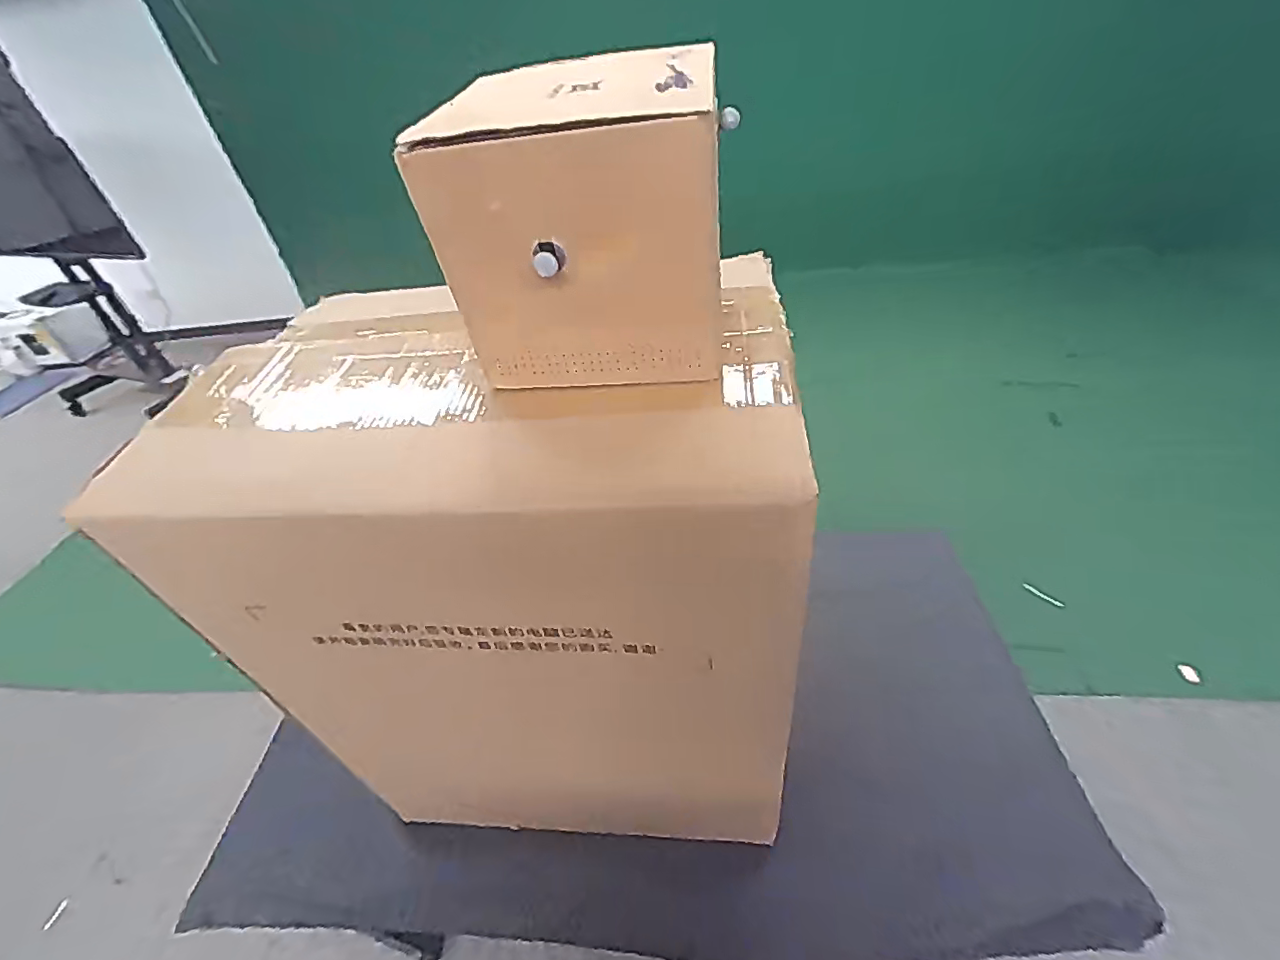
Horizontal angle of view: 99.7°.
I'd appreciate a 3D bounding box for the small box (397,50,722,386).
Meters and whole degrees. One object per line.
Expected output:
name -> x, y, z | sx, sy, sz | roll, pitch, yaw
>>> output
small box -> -0.032, -0.182, 0.396 | 0.179, 0.176, 0.168 | -1, 48, 10
